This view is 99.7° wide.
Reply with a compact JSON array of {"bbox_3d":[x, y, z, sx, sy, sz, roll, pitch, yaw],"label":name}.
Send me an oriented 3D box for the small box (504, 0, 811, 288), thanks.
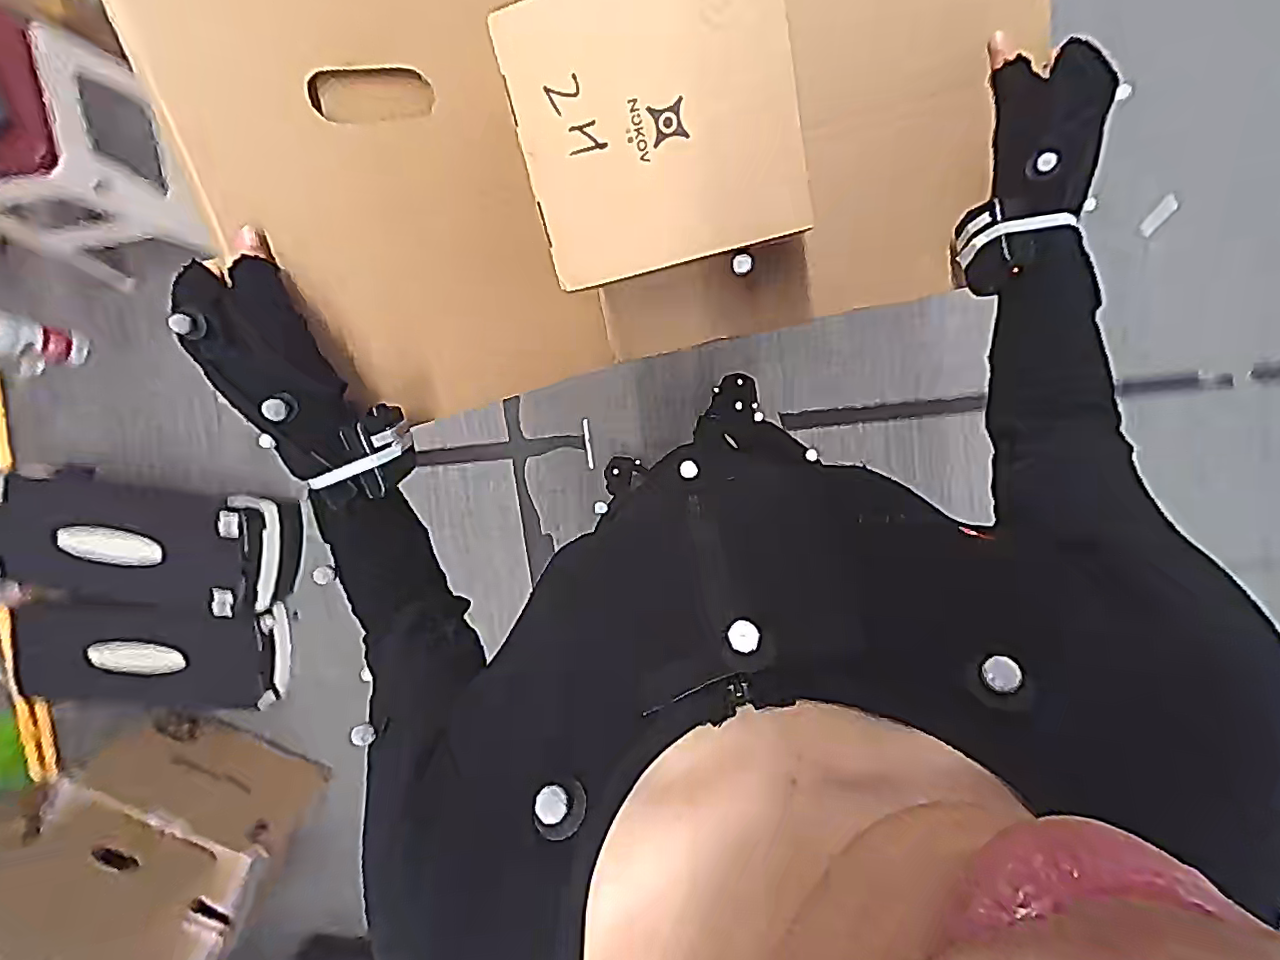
[{"bbox_3d":[0.023,-0.256,0.423,0.179,0.176,0.168,-9,109,11],"label":"small box"}]
